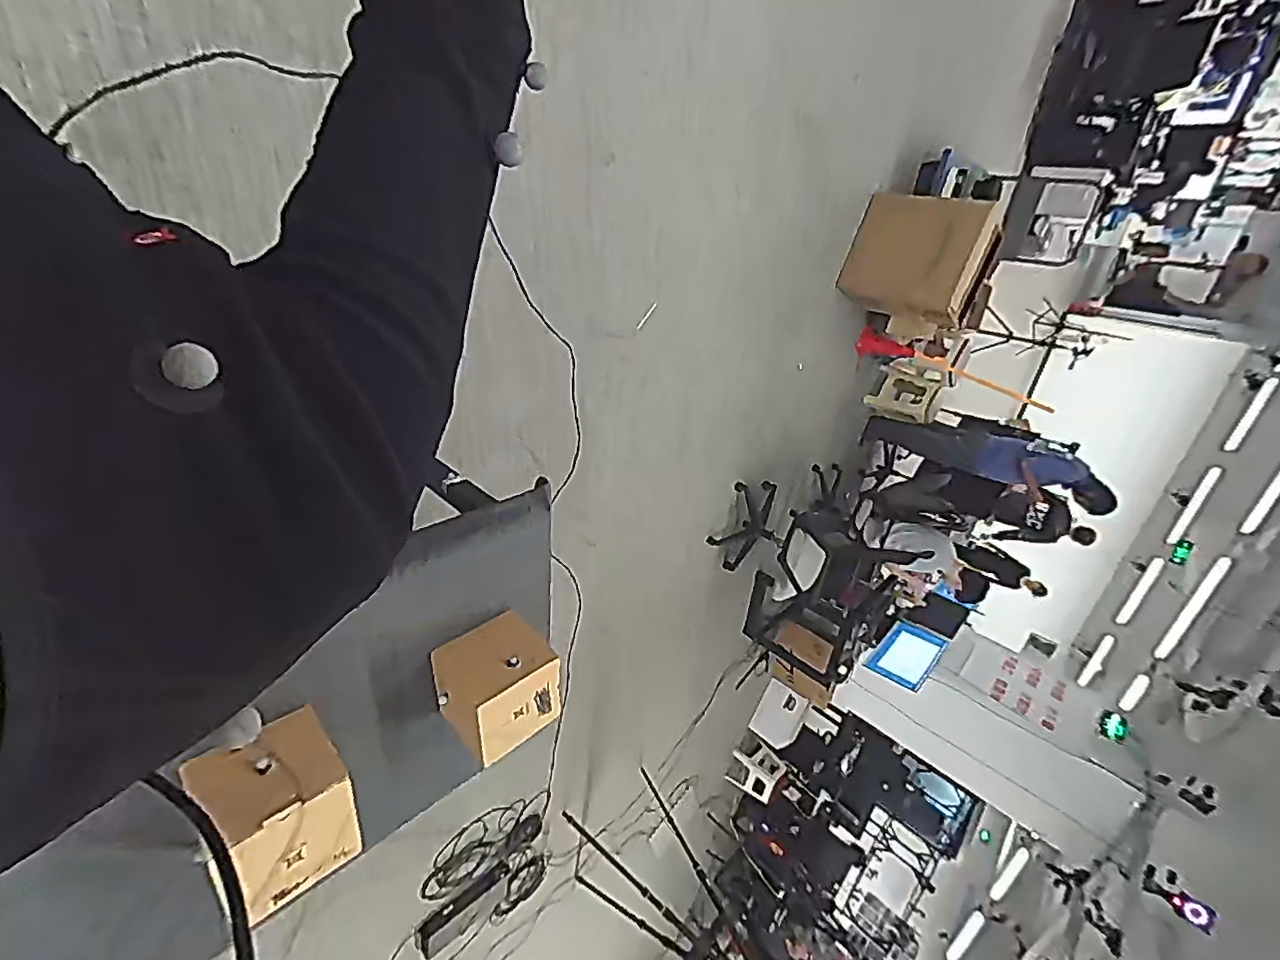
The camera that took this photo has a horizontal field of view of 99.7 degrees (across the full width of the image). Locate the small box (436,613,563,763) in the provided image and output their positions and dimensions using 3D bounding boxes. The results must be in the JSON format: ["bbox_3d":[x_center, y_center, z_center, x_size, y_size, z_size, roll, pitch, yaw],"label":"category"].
[{"bbox_3d":[-0.267,0.389,1.044,0.179,0.176,0.168,-23,128,-39],"label":"small box"}]

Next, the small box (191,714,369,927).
[{"bbox_3d":[-0.524,0.478,0.793,0.168,0.176,0.179,-20,126,-43],"label":"small box"}]
